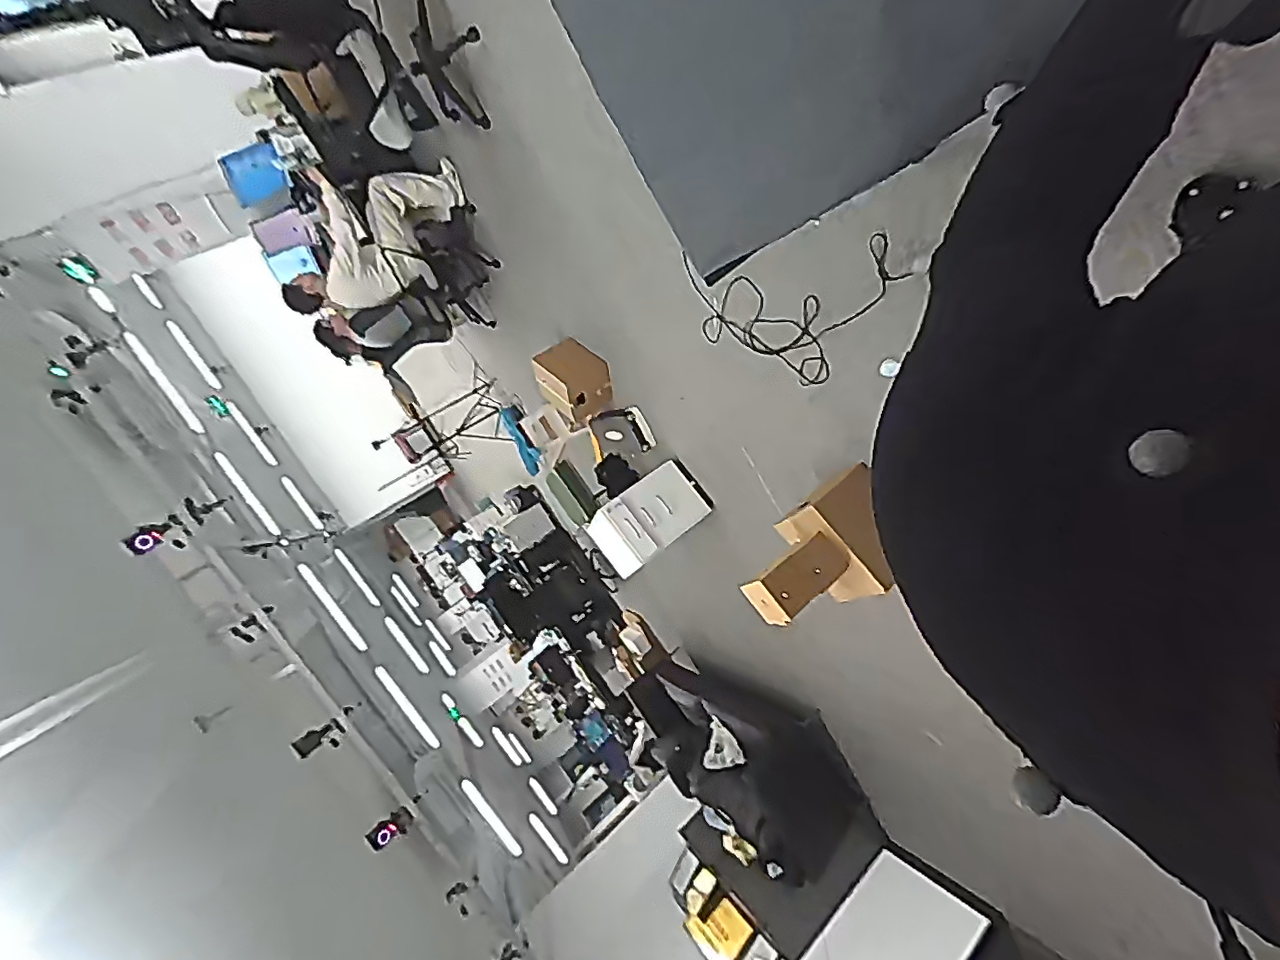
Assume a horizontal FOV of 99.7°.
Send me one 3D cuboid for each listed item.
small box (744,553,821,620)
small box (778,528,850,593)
[{"bbox_3d":[0.522,0.386,1.979,0.179,0.176,0.168,52,157,6],"label":"small box"},{"bbox_3d":[0.653,0.310,2.040,0.179,0.176,0.168,52,157,7],"label":"small box"}]
